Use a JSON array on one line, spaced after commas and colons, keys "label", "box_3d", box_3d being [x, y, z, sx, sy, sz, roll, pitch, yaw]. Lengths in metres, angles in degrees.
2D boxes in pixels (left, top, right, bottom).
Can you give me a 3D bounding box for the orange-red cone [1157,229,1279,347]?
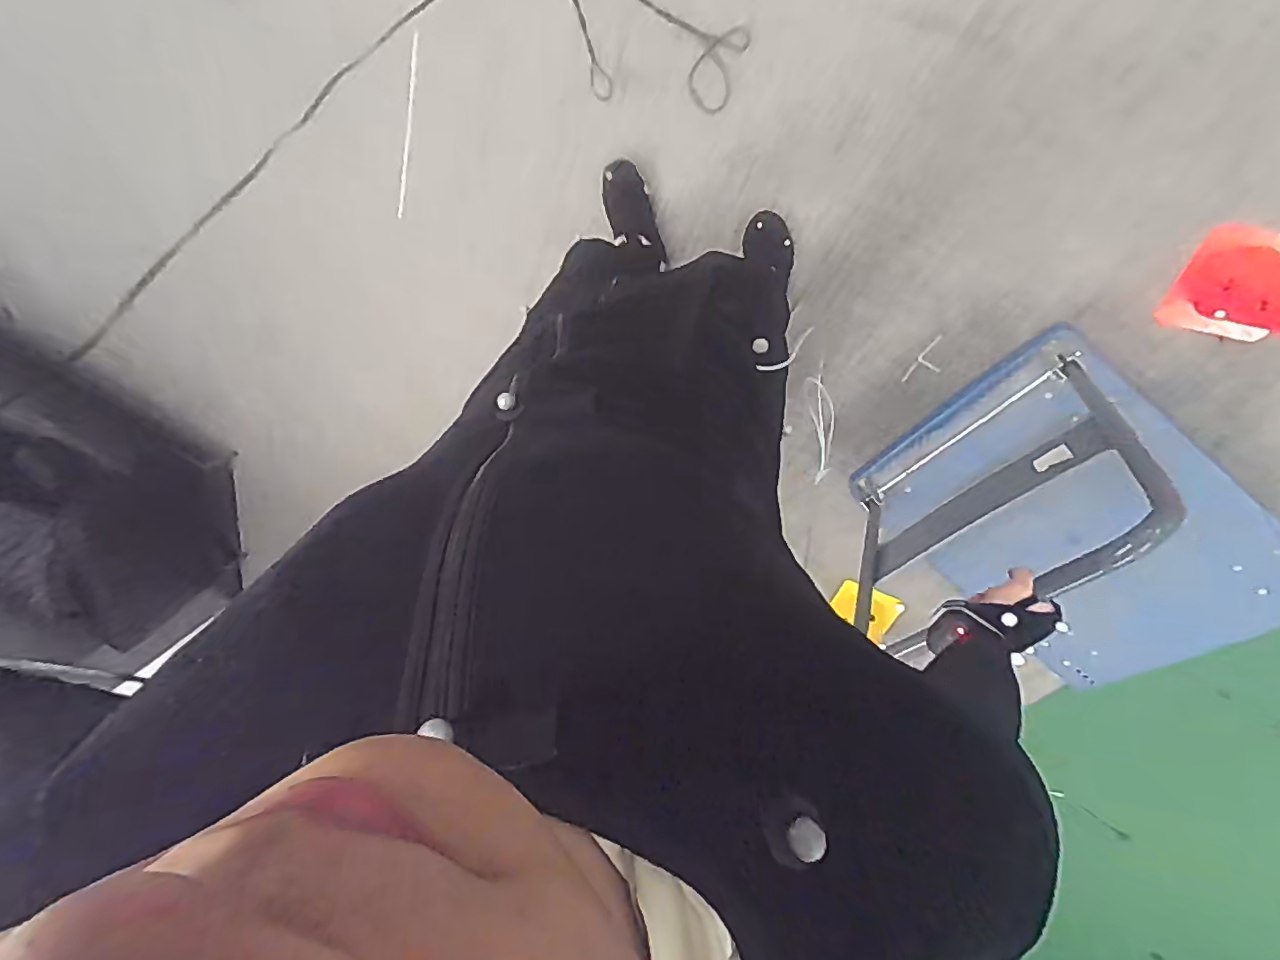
[{"label": "orange-red cone", "box_3d": [1.135, -0.294, 0.939, 0.198, 0.360, 0.199, 19, 125, 11]}]
